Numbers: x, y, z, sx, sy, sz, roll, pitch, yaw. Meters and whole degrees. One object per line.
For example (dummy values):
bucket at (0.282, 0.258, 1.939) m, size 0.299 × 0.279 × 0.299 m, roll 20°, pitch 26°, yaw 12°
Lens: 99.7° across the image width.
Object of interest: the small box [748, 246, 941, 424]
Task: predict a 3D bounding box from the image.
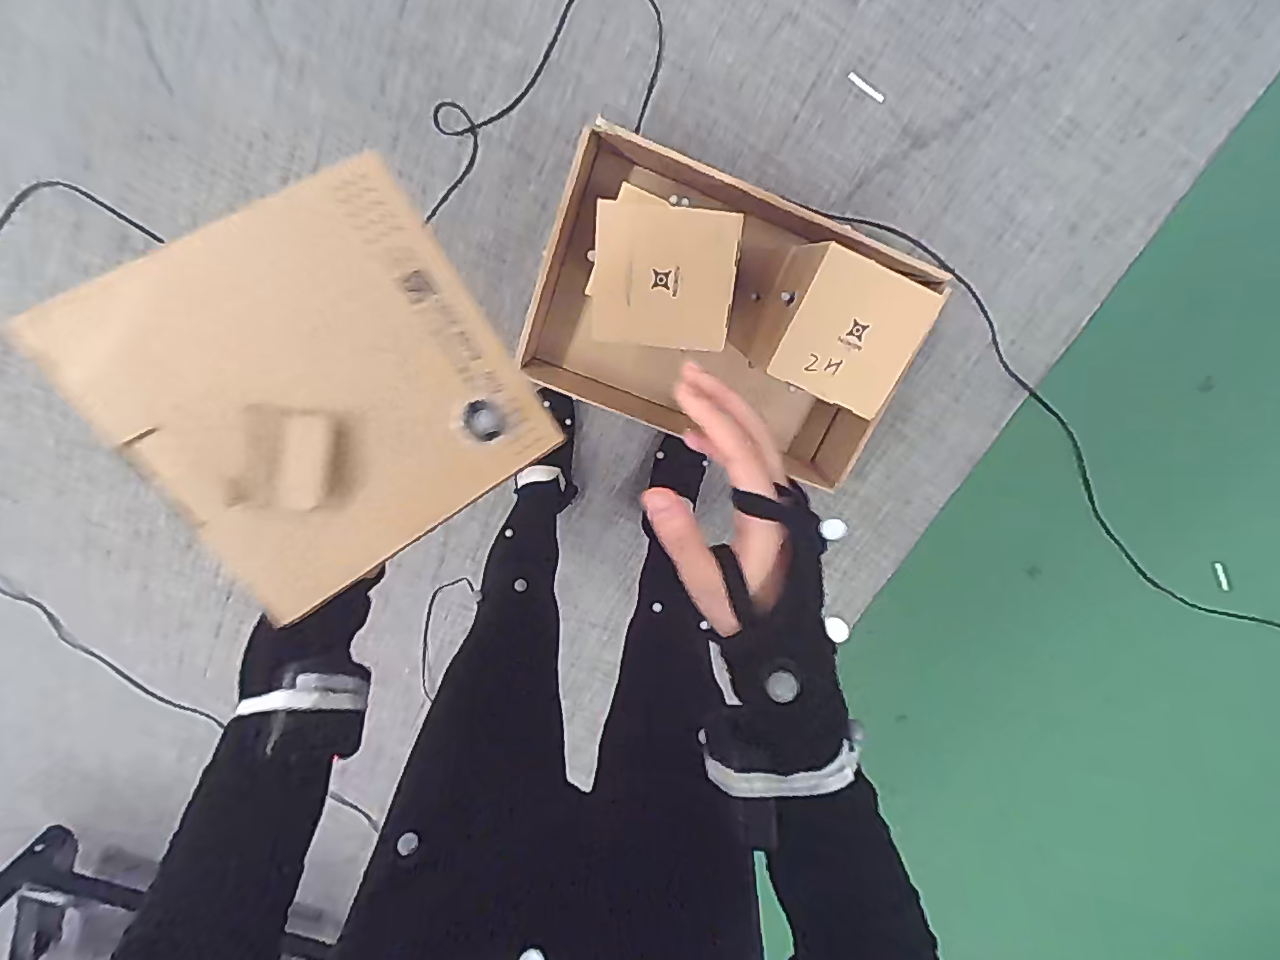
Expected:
small box at (0.268, -0.208, 0.762) m, size 0.168 × 0.176 × 0.179 m, roll 22°, pitch 110°, yaw -8°

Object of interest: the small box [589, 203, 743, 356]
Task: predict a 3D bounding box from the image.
small box at (0.027, -0.273, 0.739) m, size 0.179 × 0.176 × 0.168 m, roll 5°, pitch 112°, yaw -3°

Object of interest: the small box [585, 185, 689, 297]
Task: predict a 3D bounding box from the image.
small box at (0.024, -0.351, 0.882) m, size 0.179 × 0.176 × 0.168 m, roll 20°, pitch 111°, yaw -9°
